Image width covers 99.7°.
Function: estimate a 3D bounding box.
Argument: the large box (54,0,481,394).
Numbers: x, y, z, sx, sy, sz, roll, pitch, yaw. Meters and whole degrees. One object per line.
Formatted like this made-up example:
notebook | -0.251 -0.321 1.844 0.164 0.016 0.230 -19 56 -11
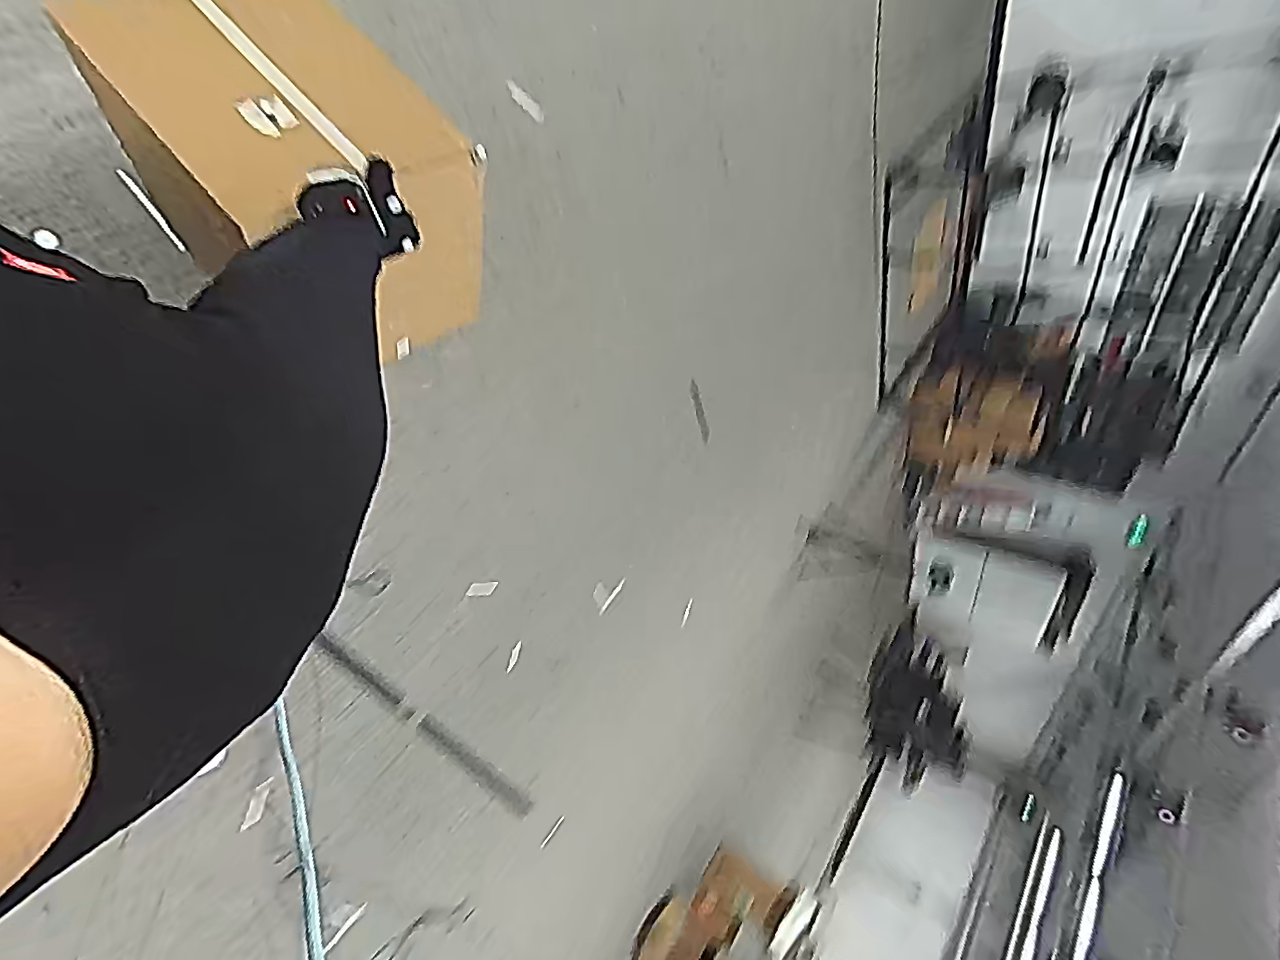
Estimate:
large box | -0.497 -0.414 0.810 0.320 0.408 0.320 -39 172 -29
